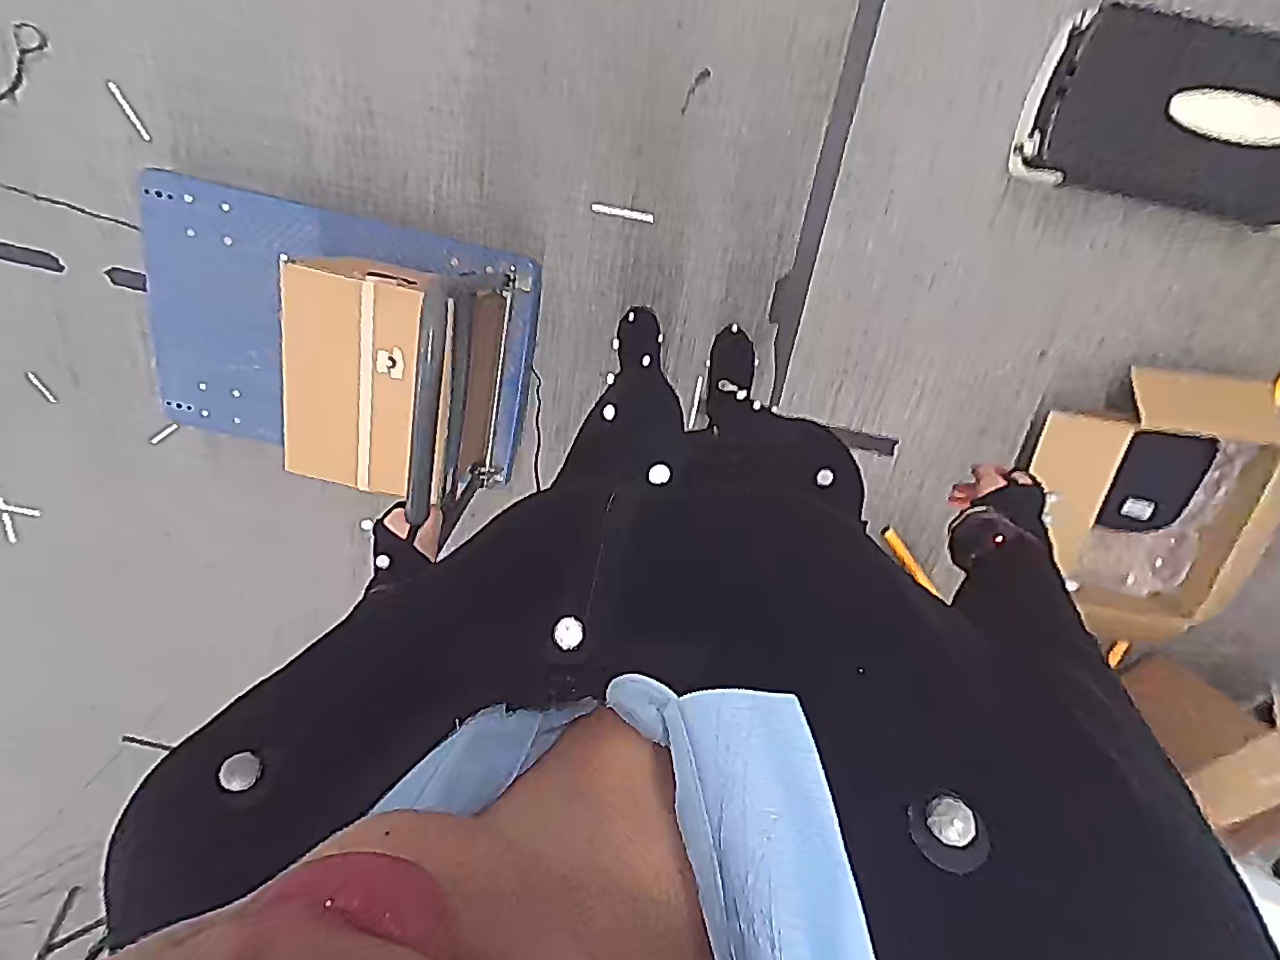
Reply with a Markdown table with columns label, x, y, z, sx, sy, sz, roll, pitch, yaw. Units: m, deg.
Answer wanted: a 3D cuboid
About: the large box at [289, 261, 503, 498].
| label | x | y | z | sx | sy | sz | roll | pitch | yaw |
| --- | --- | --- | --- | --- | --- | --- | --- | --- | --- |
| large box | -0.503 | -0.224 | 1.163 | 0.320 | 0.320 | 0.408 | 12 | 111 | -4 |
